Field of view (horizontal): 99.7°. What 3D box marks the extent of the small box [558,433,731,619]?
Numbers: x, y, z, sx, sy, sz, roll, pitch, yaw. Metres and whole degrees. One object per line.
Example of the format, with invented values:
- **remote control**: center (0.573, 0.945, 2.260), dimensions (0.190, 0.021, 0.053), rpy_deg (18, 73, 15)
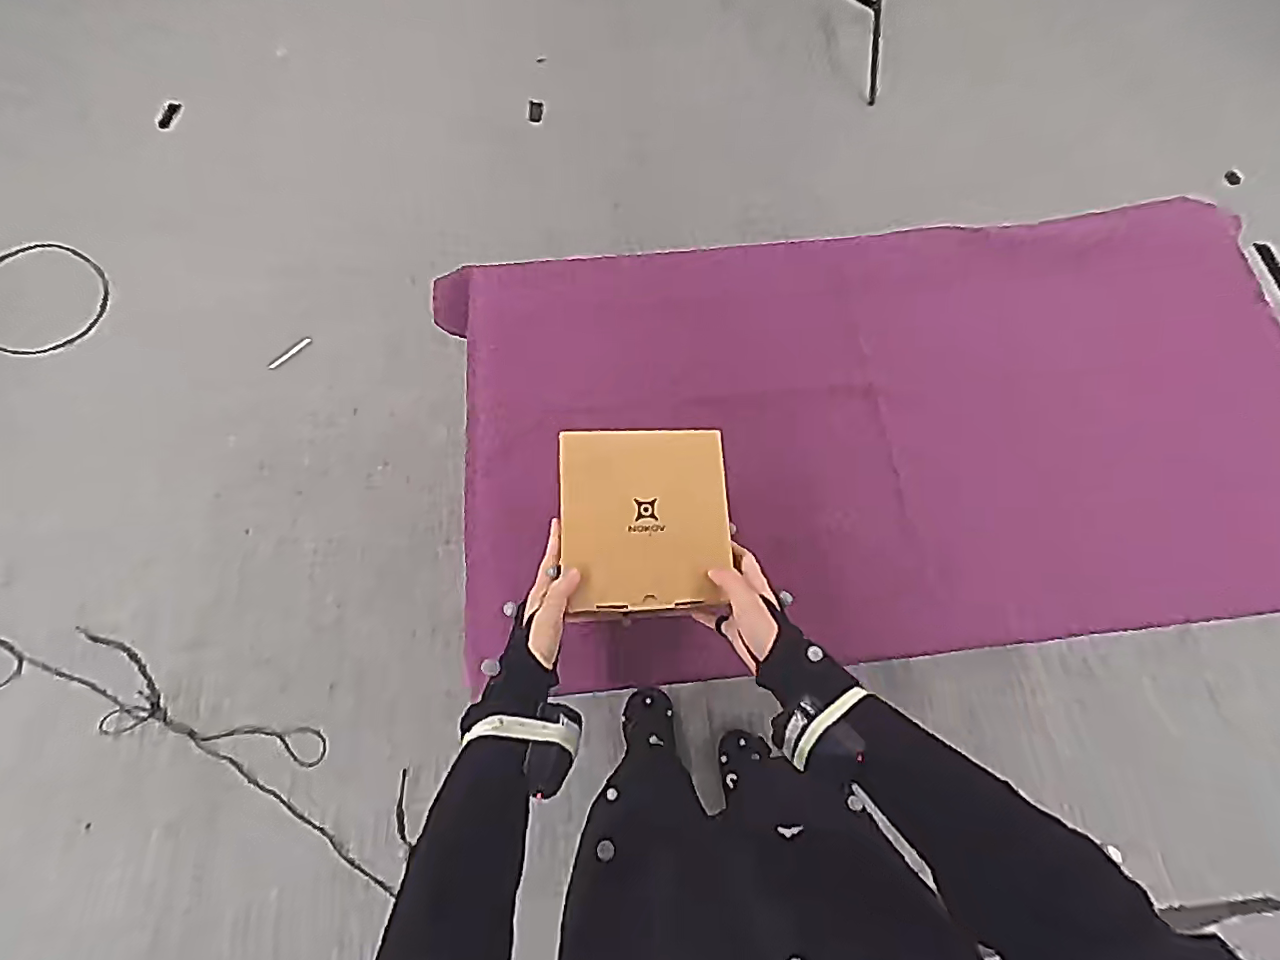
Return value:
- **small box**: center (-0.007, 0.059, 0.605), dimensions (0.168, 0.176, 0.179), rpy_deg (0, 73, -8)
